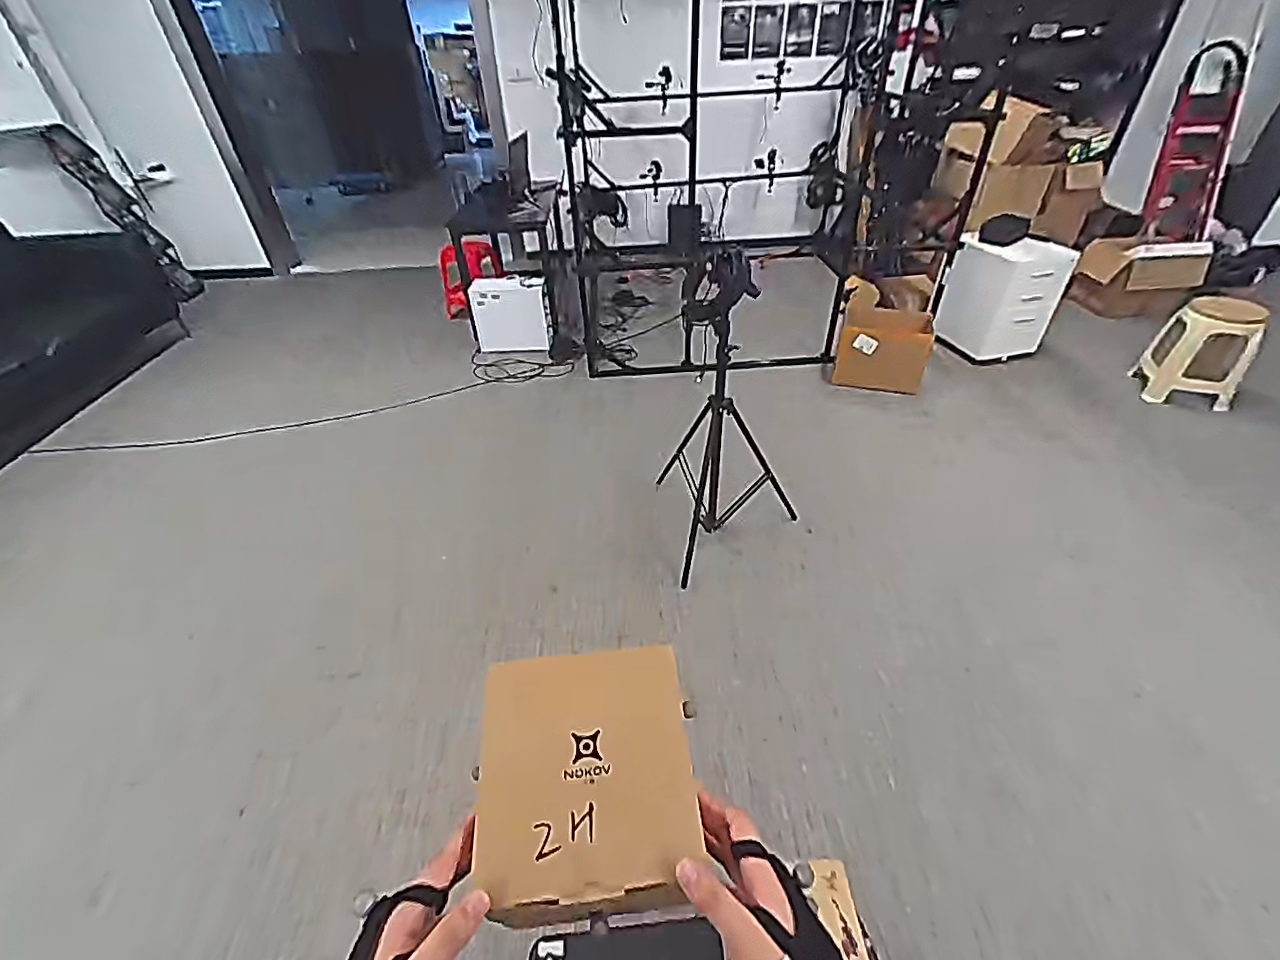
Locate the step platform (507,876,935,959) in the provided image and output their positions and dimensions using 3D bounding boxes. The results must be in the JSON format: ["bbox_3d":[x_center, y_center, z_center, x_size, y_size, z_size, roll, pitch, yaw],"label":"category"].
[{"bbox_3d":[0.128,0.863,0.857,0.684,0.204,0.286,-5,38,-3],"label":"step platform"}]

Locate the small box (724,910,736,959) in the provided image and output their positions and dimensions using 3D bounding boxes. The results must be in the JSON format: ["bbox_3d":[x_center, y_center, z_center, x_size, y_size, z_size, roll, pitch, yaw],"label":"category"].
[{"bbox_3d":[0.242,0.852,0.924,0.179,0.176,0.168,-5,38,-1],"label":"small box"}]

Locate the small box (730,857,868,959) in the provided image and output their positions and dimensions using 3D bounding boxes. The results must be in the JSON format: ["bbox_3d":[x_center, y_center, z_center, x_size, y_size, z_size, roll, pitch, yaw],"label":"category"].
[{"bbox_3d":[0.236,0.712,0.837,0.179,0.176,0.168,-3,38,1],"label":"small box"}]
